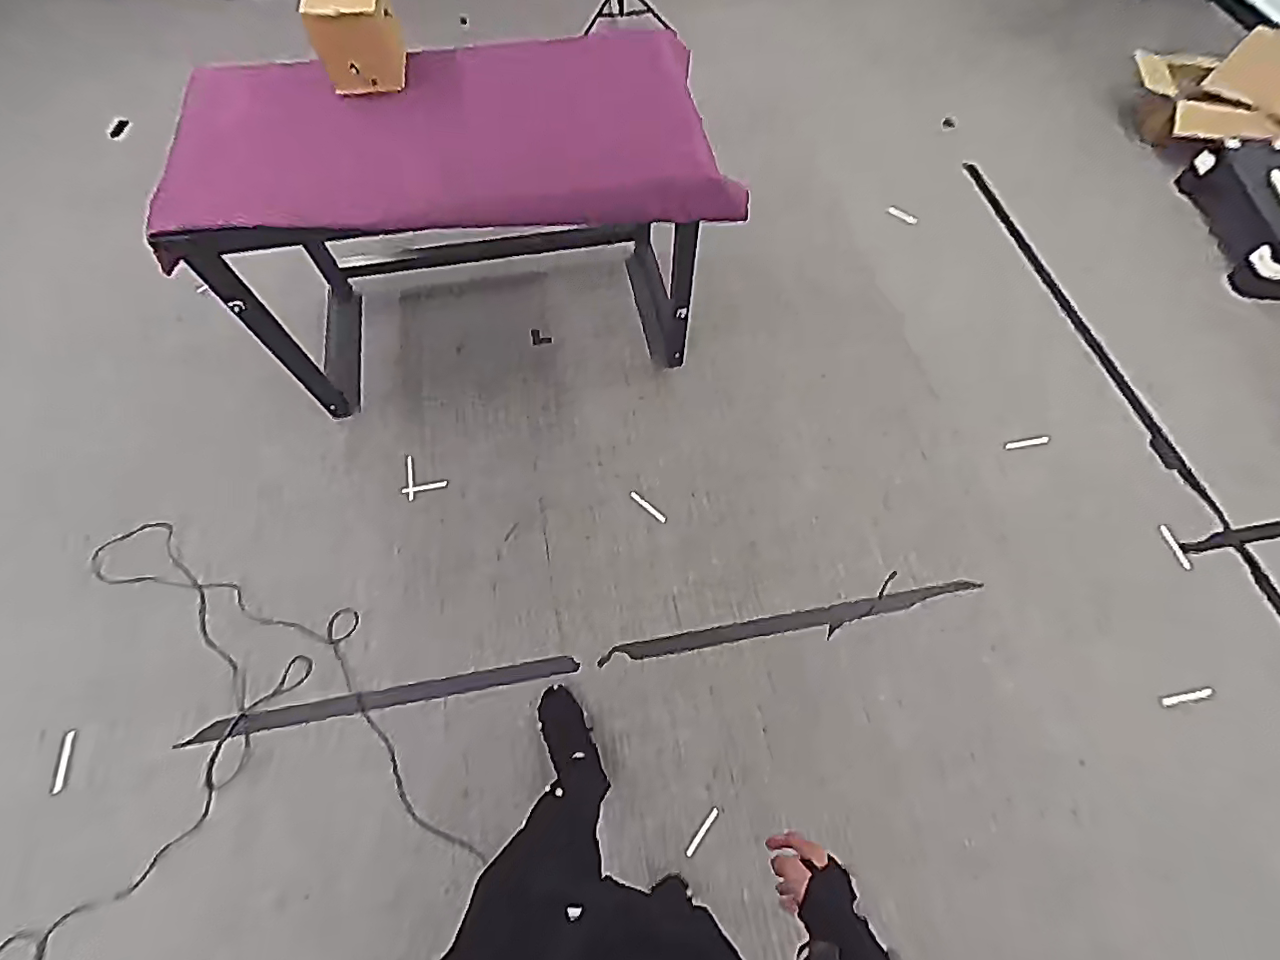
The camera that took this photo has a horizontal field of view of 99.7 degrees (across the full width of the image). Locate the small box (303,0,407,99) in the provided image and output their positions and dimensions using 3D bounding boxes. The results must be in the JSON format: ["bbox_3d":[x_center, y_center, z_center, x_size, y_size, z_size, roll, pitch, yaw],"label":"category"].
[{"bbox_3d":[-0.675,-1.056,1.301,0.168,0.176,0.179,-7,65,-5],"label":"small box"}]
